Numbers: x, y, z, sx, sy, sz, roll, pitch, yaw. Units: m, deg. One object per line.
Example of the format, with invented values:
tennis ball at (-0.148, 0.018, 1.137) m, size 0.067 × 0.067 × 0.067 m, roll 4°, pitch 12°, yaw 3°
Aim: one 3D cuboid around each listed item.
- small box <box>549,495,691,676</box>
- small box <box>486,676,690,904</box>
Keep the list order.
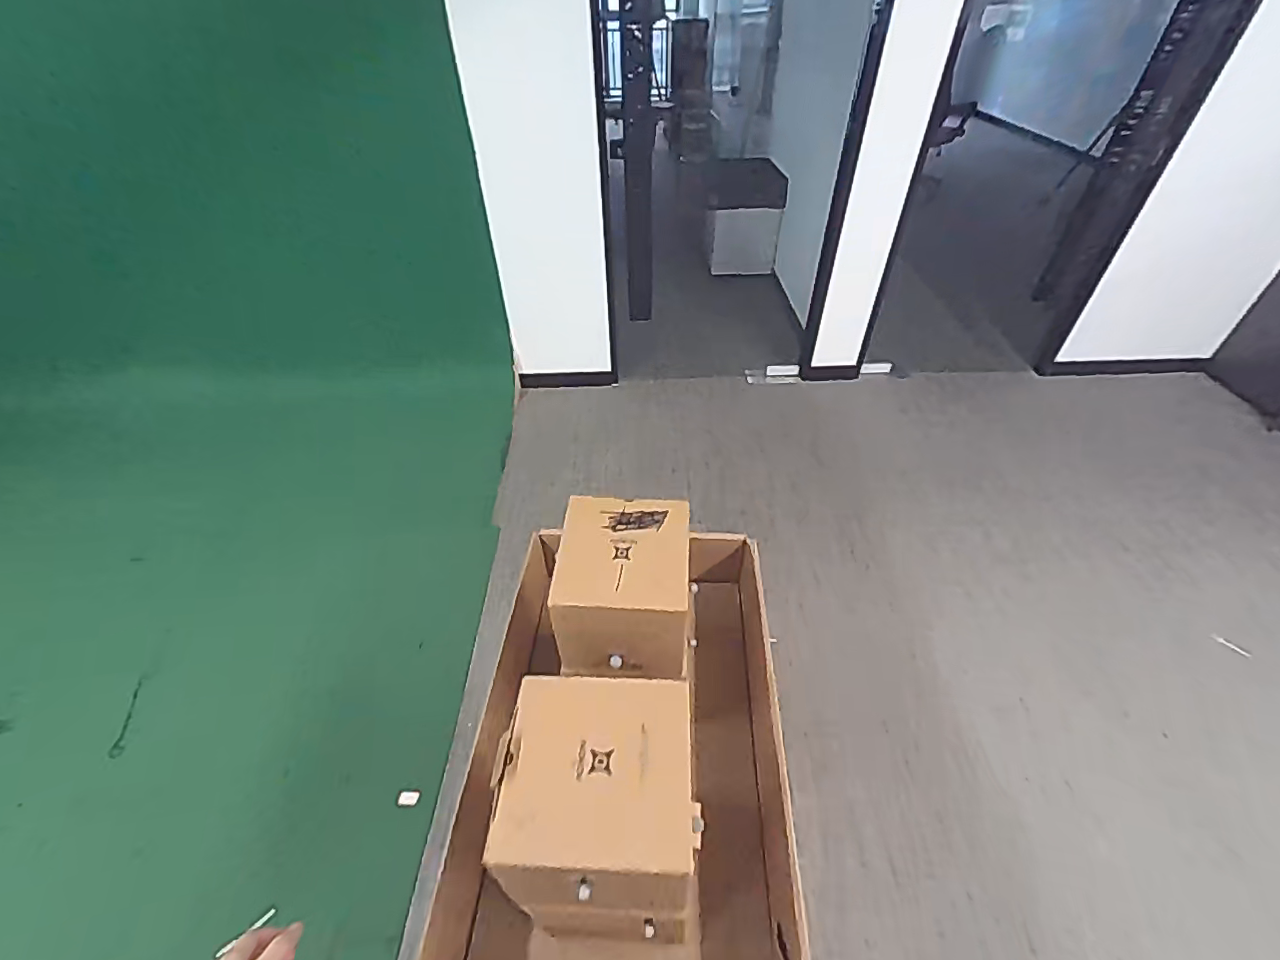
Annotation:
small box at (-0.020, 0.144, 0.743) m, size 0.168 × 0.176 × 0.179 m, roll 3°, pitch 46°, yaw 4°
small box at (-0.040, 0.323, 0.562) m, size 0.179 × 0.176 × 0.168 m, roll 1°, pitch 44°, yaw 2°
